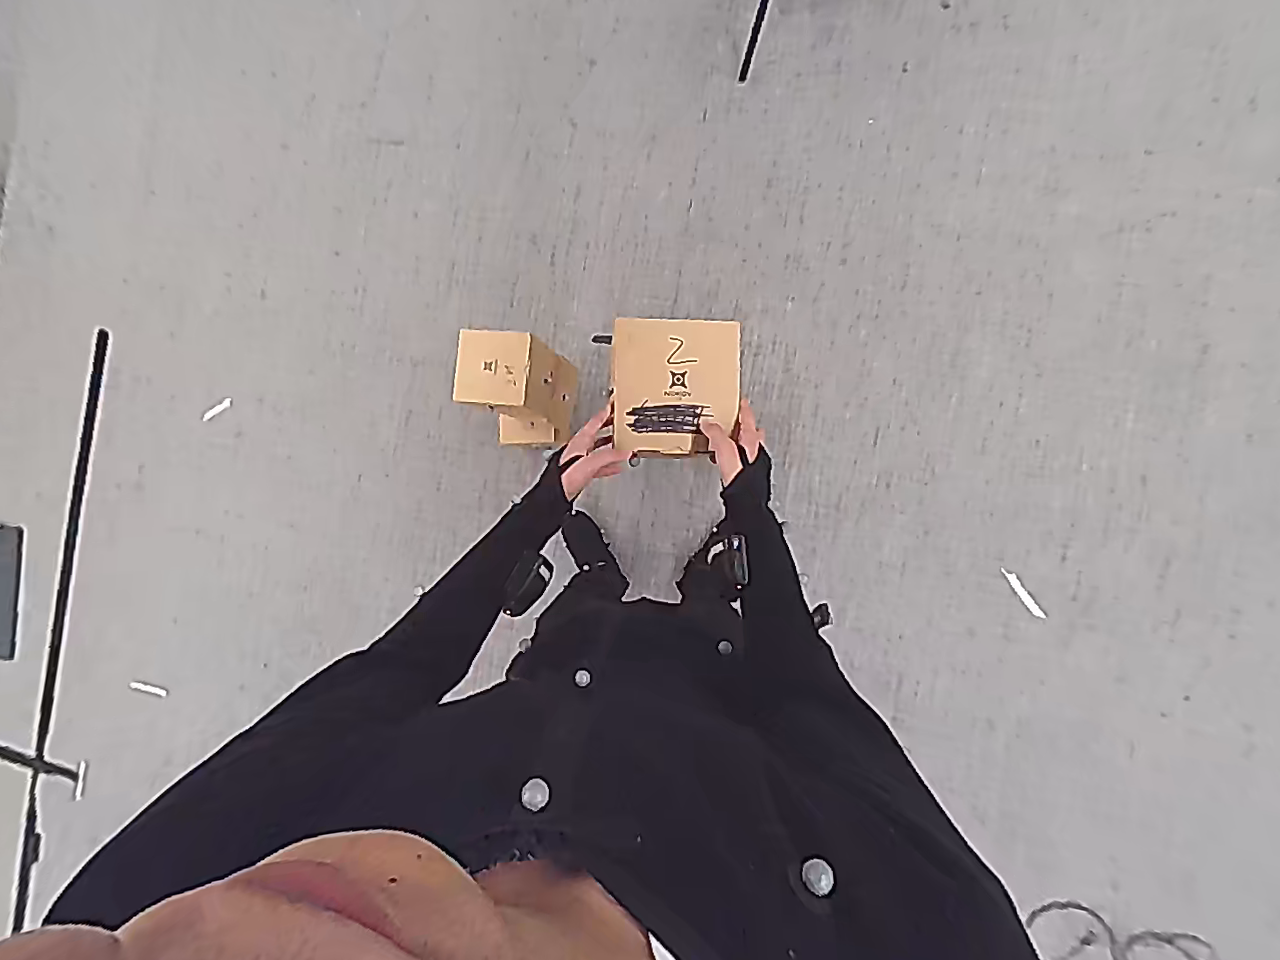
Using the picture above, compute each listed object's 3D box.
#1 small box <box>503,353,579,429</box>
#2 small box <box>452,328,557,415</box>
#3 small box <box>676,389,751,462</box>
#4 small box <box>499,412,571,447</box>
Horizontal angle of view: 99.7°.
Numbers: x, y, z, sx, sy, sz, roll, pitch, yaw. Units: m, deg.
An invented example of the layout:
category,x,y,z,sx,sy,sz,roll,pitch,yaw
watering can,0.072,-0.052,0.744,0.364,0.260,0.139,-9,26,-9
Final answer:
category,x,y,z,sx,sy,sz,roll,pitch,yaw
small box,-0.271,-0.243,1.431,0.168,0.176,0.179,14,92,10
small box,-0.313,-0.249,1.272,0.179,0.176,0.168,6,90,10
small box,0.207,-0.147,1.519,0.179,0.176,0.168,11,91,8
small box,-0.306,-0.192,1.601,0.168,0.176,0.179,-1,89,10
